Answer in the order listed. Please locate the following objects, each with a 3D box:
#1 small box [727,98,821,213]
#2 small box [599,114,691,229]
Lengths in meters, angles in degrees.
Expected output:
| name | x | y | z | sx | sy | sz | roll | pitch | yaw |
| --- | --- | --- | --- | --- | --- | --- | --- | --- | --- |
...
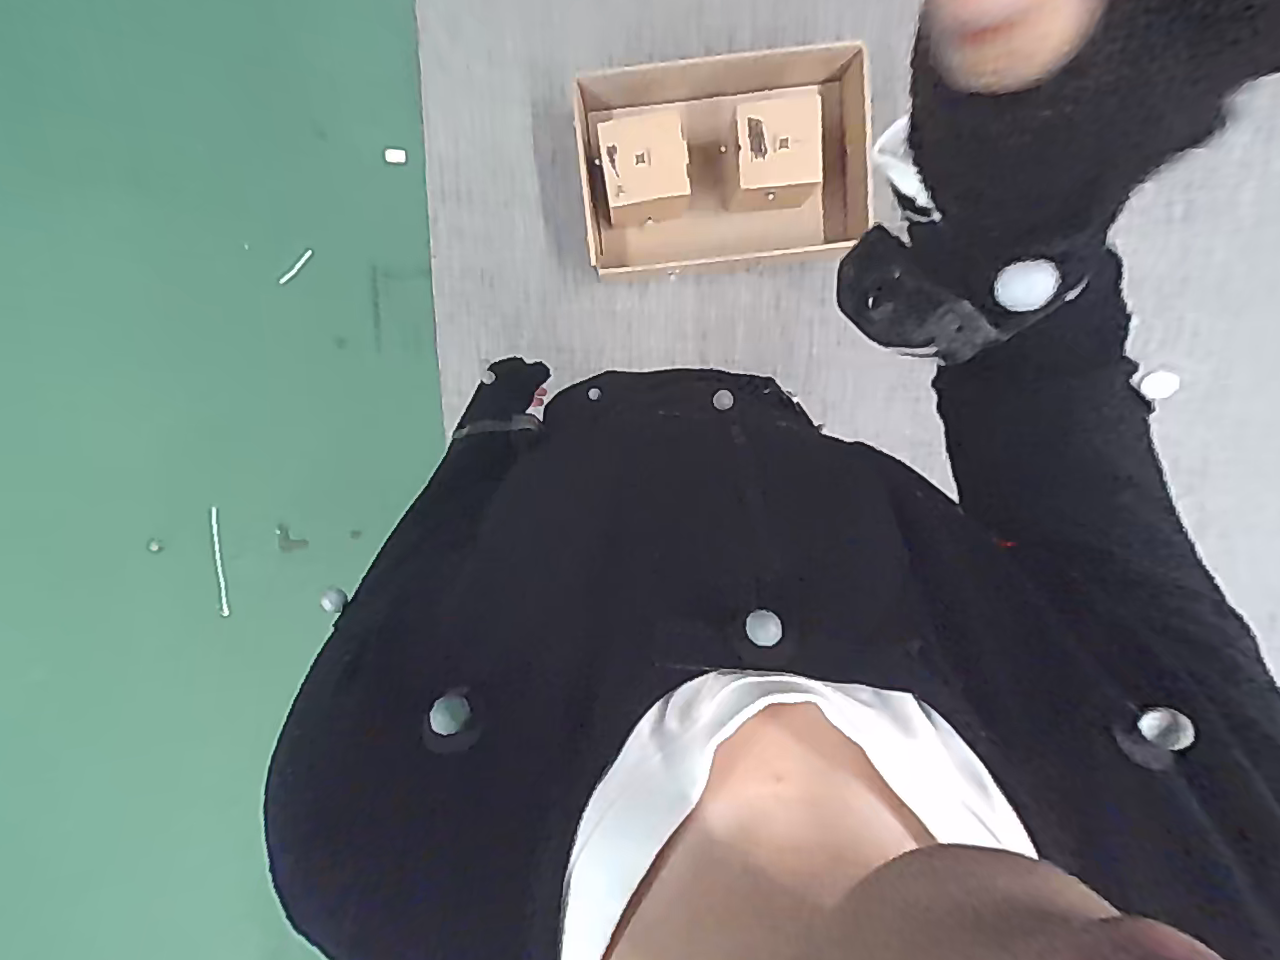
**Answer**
| name | x | y | z | sx | sy | sz | roll | pitch | yaw |
| --- | --- | --- | --- | --- | --- | --- | --- | --- | --- |
| small box | 0.289 | -0.708 | 1.198 | 0.179 | 0.176 | 0.168 | -4 | 101 | 2 |
| small box | 0.009 | -0.677 | 1.206 | 0.179 | 0.176 | 0.168 | -9 | 100 | 1 |
